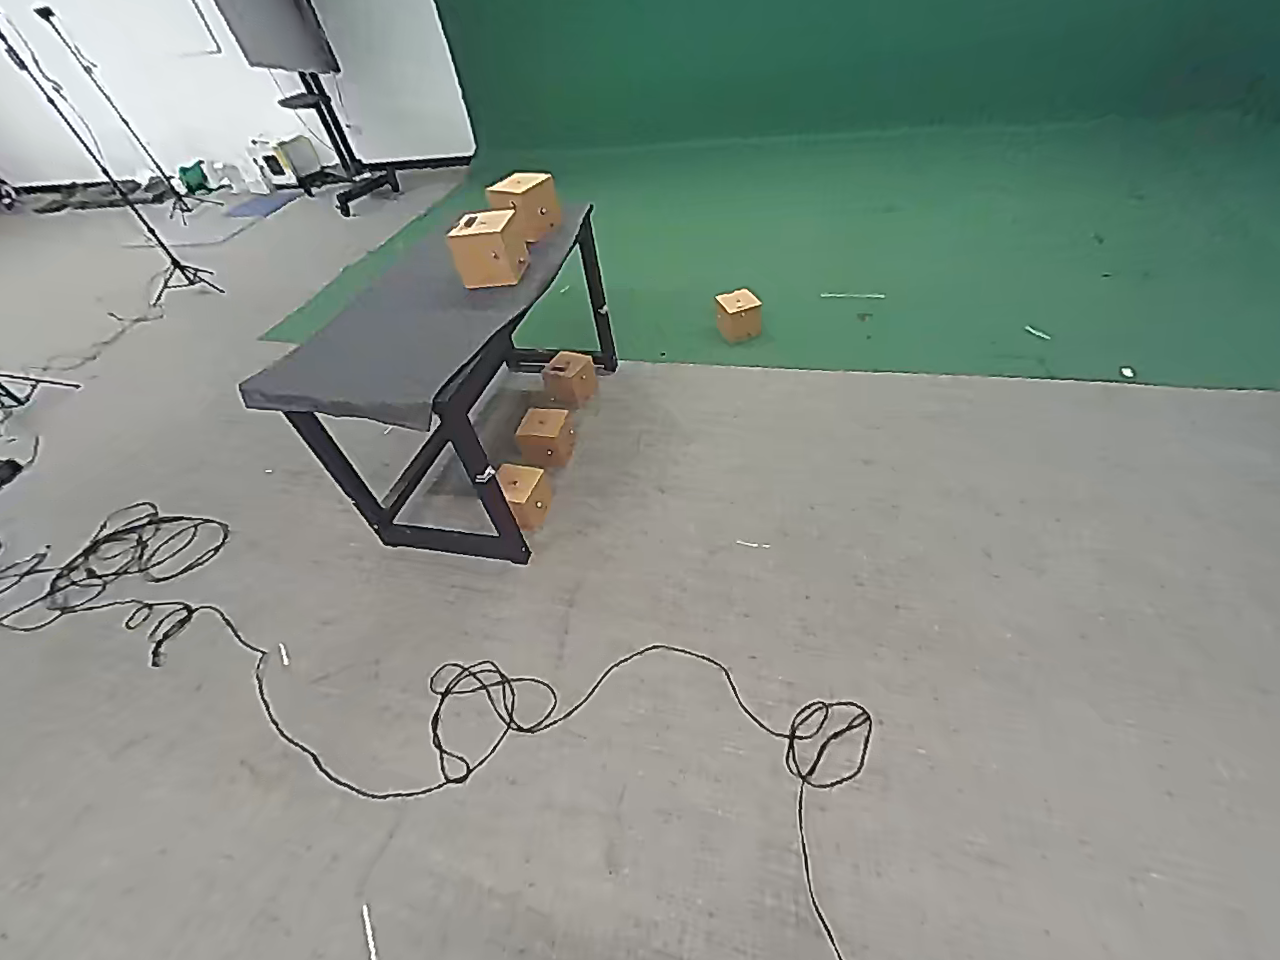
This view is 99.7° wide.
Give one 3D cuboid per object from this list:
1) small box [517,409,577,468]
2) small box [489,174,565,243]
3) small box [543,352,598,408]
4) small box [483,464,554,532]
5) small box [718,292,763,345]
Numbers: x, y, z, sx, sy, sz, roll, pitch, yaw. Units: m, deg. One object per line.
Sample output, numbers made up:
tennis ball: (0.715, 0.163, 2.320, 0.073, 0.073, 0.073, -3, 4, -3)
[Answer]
small box: (-0.366, -0.164, 2.171, 0.179, 0.176, 0.168, 3, 47, 14)
small box: (-0.393, -0.960, 1.915, 0.179, 0.176, 0.168, 22, 54, 30)
small box: (-0.304, -0.447, 2.429, 0.168, 0.176, 0.179, 17, 50, 23)
small box: (-0.432, 0.068, 1.963, 0.179, 0.176, 0.168, 9, 49, 18)
small box: (0.484, -0.783, 2.622, 0.168, 0.176, 0.179, -17, 46, -7)
